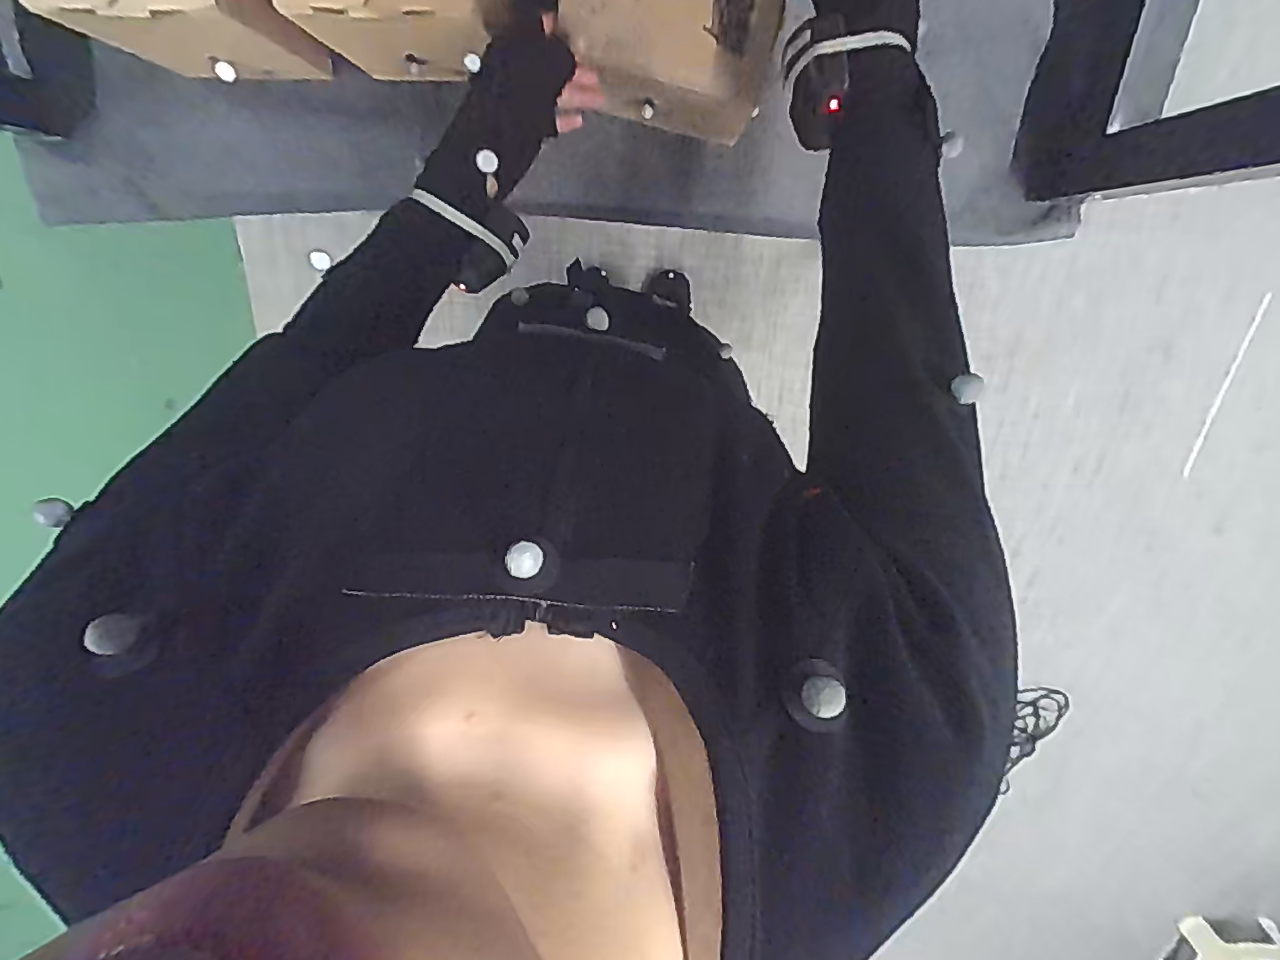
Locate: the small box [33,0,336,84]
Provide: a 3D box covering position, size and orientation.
[{"bbox_3d":[-0.407,-0.489,0.484,0.168,0.176,0.179,2,111,1],"label":"small box"}]

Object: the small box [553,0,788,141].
[{"bbox_3d":[0.039,-0.433,0.490,0.179,0.176,0.168,16,110,-2],"label":"small box"}]
